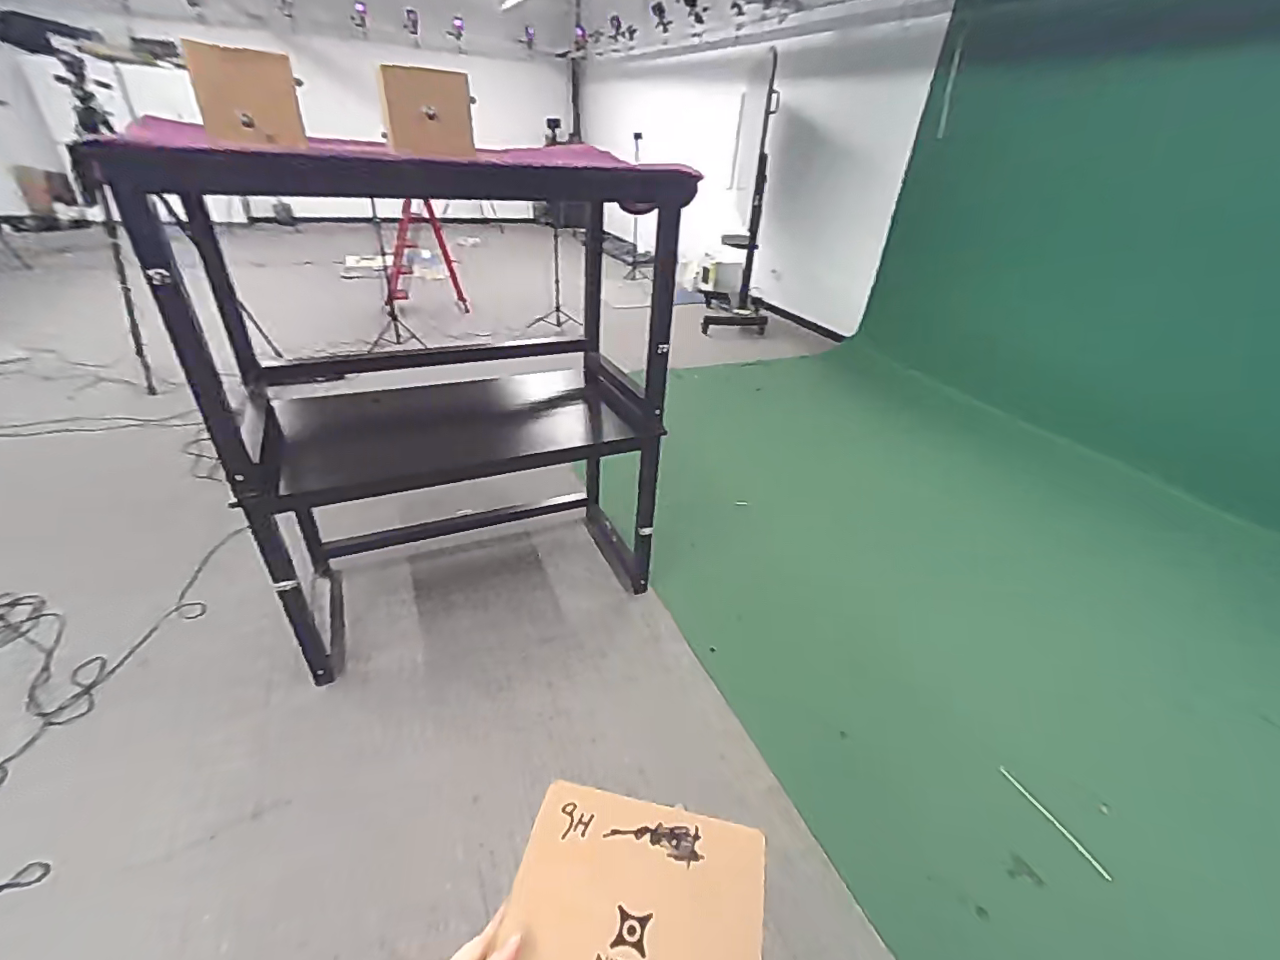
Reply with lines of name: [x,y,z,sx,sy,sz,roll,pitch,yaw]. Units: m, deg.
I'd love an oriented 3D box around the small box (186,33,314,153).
small box: [-0.760,-0.756,1.072,0.168,0.176,0.179,-13,36,-26]
